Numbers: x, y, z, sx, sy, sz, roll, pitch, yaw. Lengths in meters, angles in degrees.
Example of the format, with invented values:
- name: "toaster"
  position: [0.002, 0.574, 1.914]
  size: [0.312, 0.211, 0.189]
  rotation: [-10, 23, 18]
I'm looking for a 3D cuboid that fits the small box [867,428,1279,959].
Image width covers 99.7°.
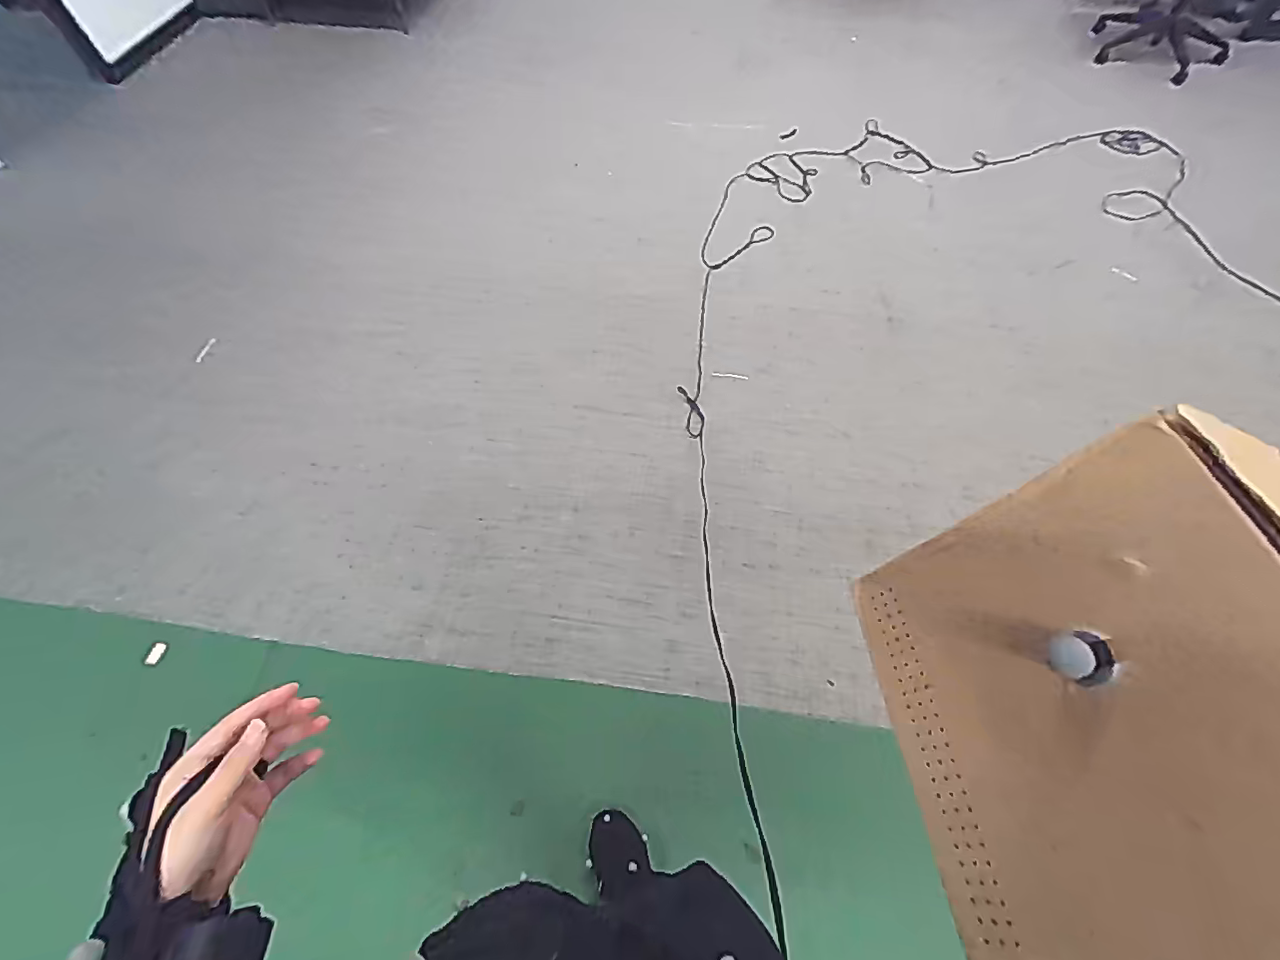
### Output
- name: "small box"
  position: [0.239, 0.107, 0.246]
  size: [0.168, 0.176, 0.179]
  rotation: [9, 52, -22]
